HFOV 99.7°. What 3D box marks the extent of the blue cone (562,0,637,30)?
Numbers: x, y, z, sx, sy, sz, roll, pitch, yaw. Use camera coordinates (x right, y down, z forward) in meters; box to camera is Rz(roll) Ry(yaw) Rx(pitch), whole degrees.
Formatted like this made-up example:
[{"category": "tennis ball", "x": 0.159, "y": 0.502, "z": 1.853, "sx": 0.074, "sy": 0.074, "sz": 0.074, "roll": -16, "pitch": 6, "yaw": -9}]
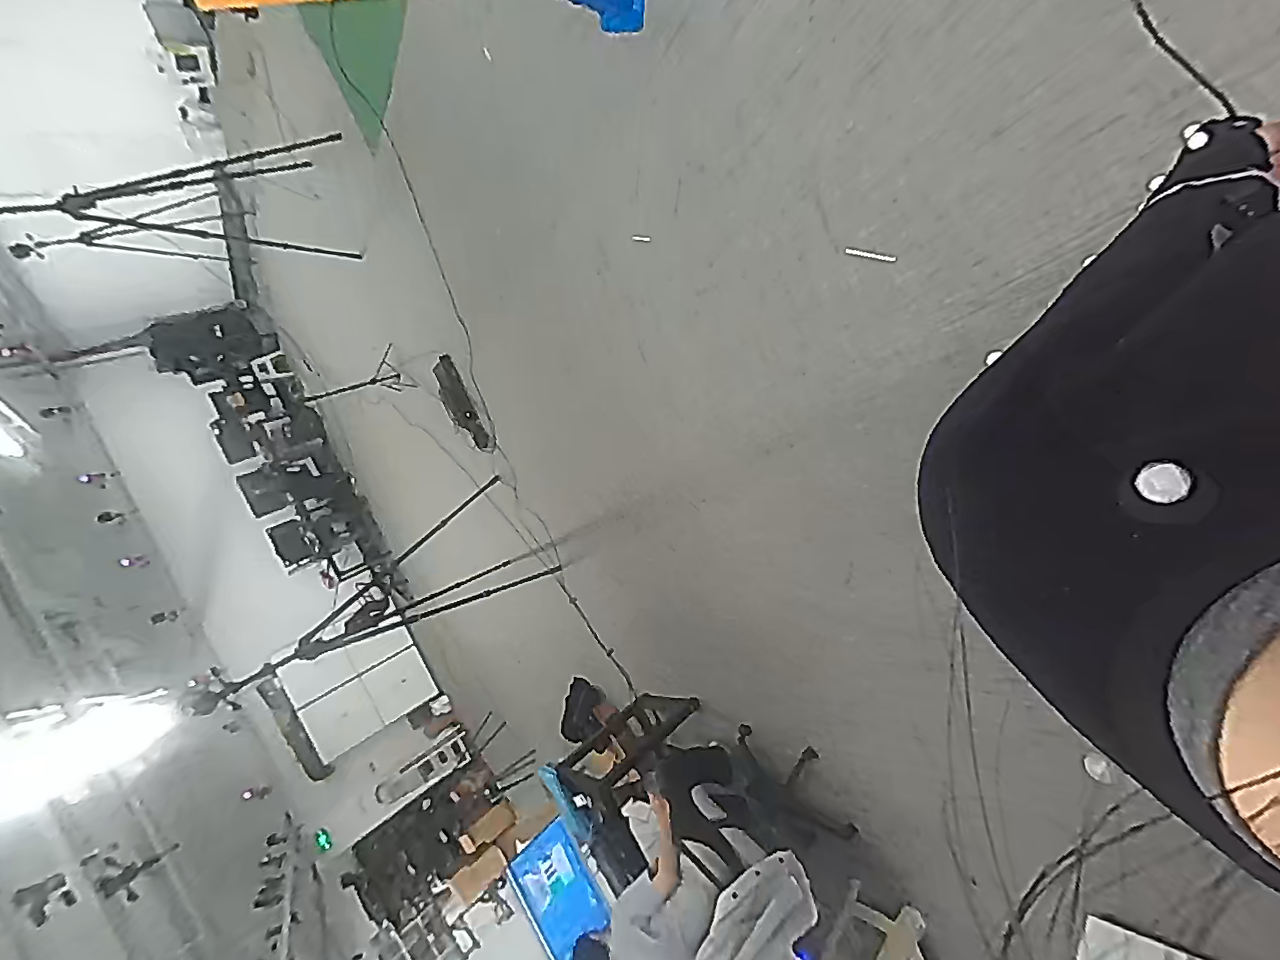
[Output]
[{"category": "blue cone", "x": -0.189, "y": -1.444, "z": 1.569, "sx": 0.192, "sy": 0.380, "sz": 0.193, "roll": 32, "pitch": 136, "yaw": 34}]
